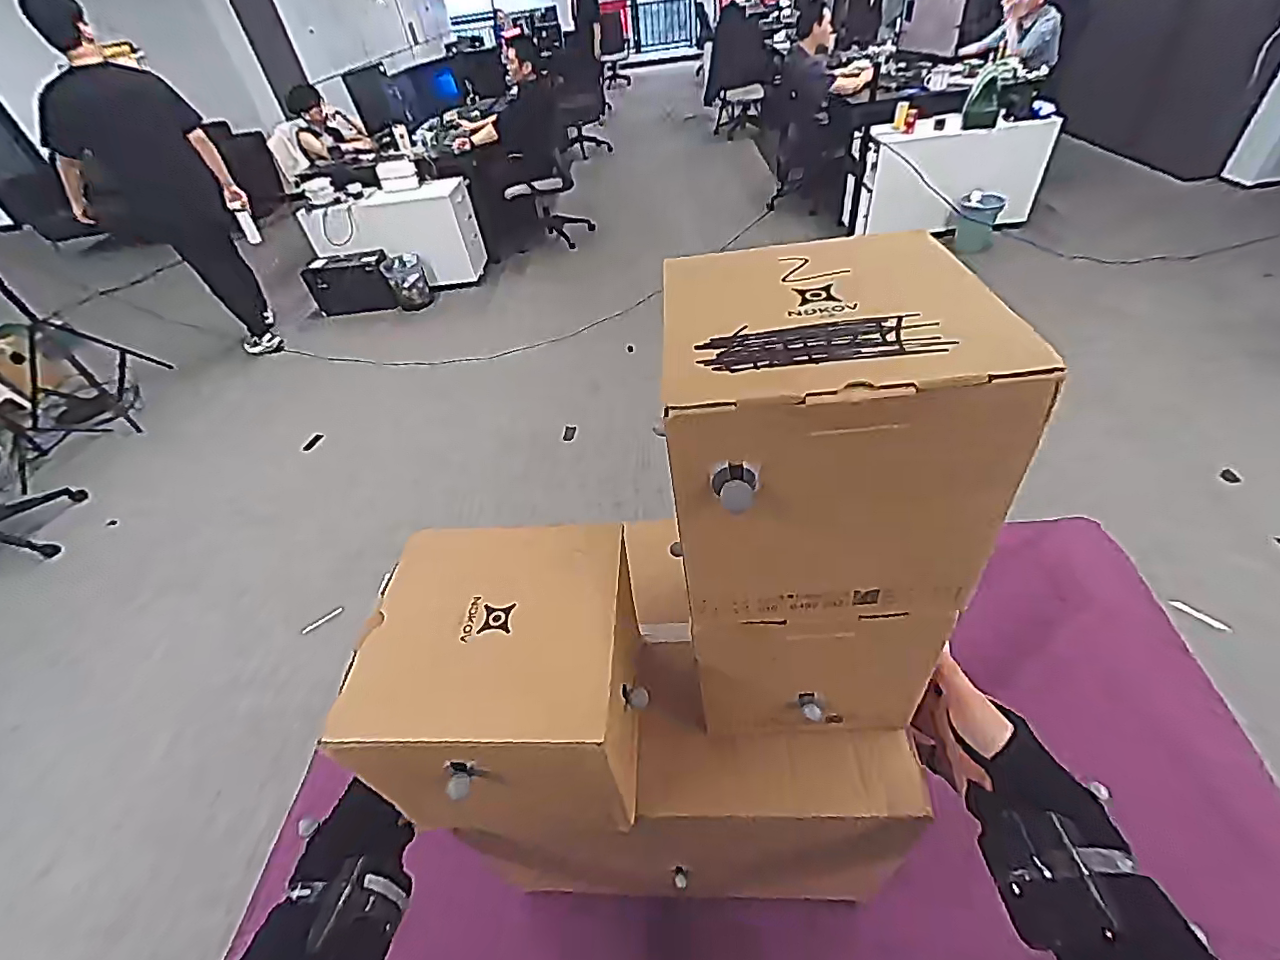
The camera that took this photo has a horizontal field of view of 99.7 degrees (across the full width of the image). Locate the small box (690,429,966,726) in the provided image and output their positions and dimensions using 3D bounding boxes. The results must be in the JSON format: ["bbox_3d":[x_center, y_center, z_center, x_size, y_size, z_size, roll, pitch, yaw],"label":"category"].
[{"bbox_3d":[0.130,0.081,0.449,0.168,0.176,0.179,-5,42,7],"label":"small box"}]

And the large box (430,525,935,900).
[{"bbox_3d":[0.047,0.267,0.627,0.408,0.320,0.320,-5,41,6],"label":"large box"}]
